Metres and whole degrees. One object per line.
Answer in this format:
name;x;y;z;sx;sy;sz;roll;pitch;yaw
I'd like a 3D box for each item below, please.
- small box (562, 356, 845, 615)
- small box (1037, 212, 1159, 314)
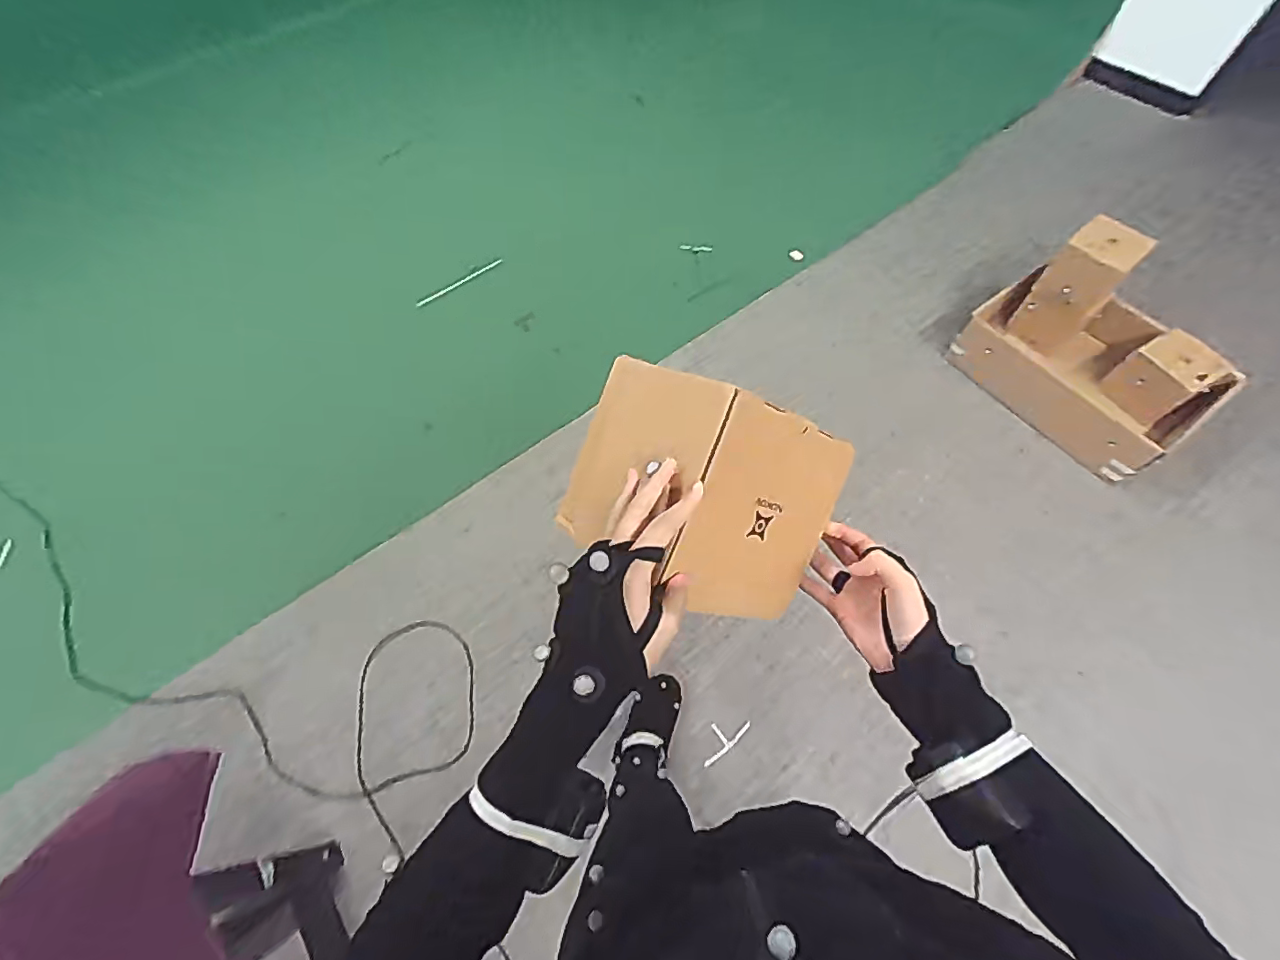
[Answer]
small box;0.047;0.002;0.505;0.176;0.168;0.179;30;100;52
small box;1.280;-0.608;1.526;0.179;0.176;0.168;-37;66;-14
